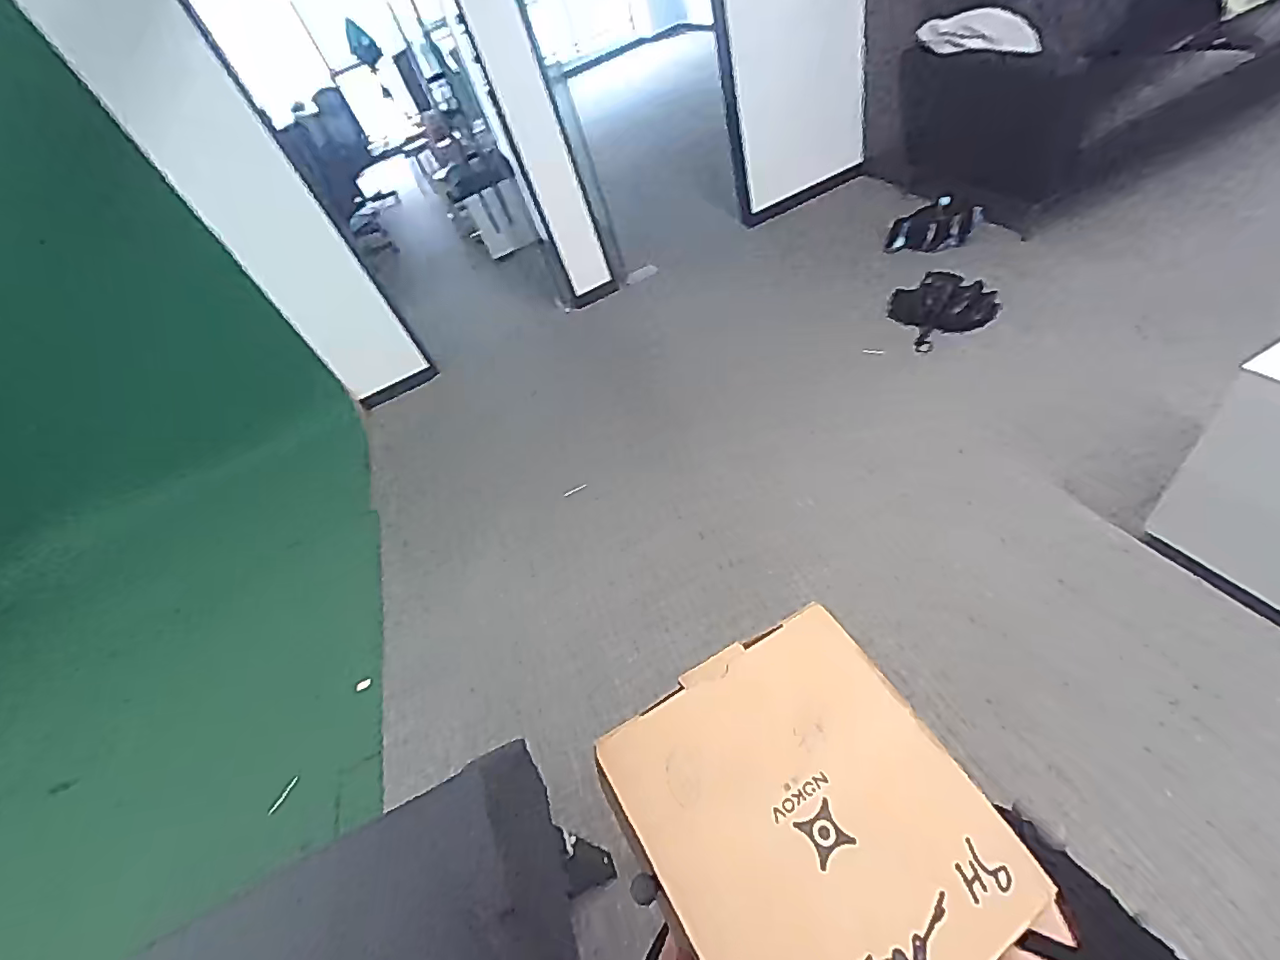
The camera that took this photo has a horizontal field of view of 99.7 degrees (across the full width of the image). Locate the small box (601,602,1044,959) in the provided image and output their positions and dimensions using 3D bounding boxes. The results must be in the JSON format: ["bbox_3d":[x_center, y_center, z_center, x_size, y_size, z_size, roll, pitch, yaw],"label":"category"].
[{"bbox_3d":[0.085,0.216,0.347,0.168,0.176,0.179,-25,59,-18],"label":"small box"}]
